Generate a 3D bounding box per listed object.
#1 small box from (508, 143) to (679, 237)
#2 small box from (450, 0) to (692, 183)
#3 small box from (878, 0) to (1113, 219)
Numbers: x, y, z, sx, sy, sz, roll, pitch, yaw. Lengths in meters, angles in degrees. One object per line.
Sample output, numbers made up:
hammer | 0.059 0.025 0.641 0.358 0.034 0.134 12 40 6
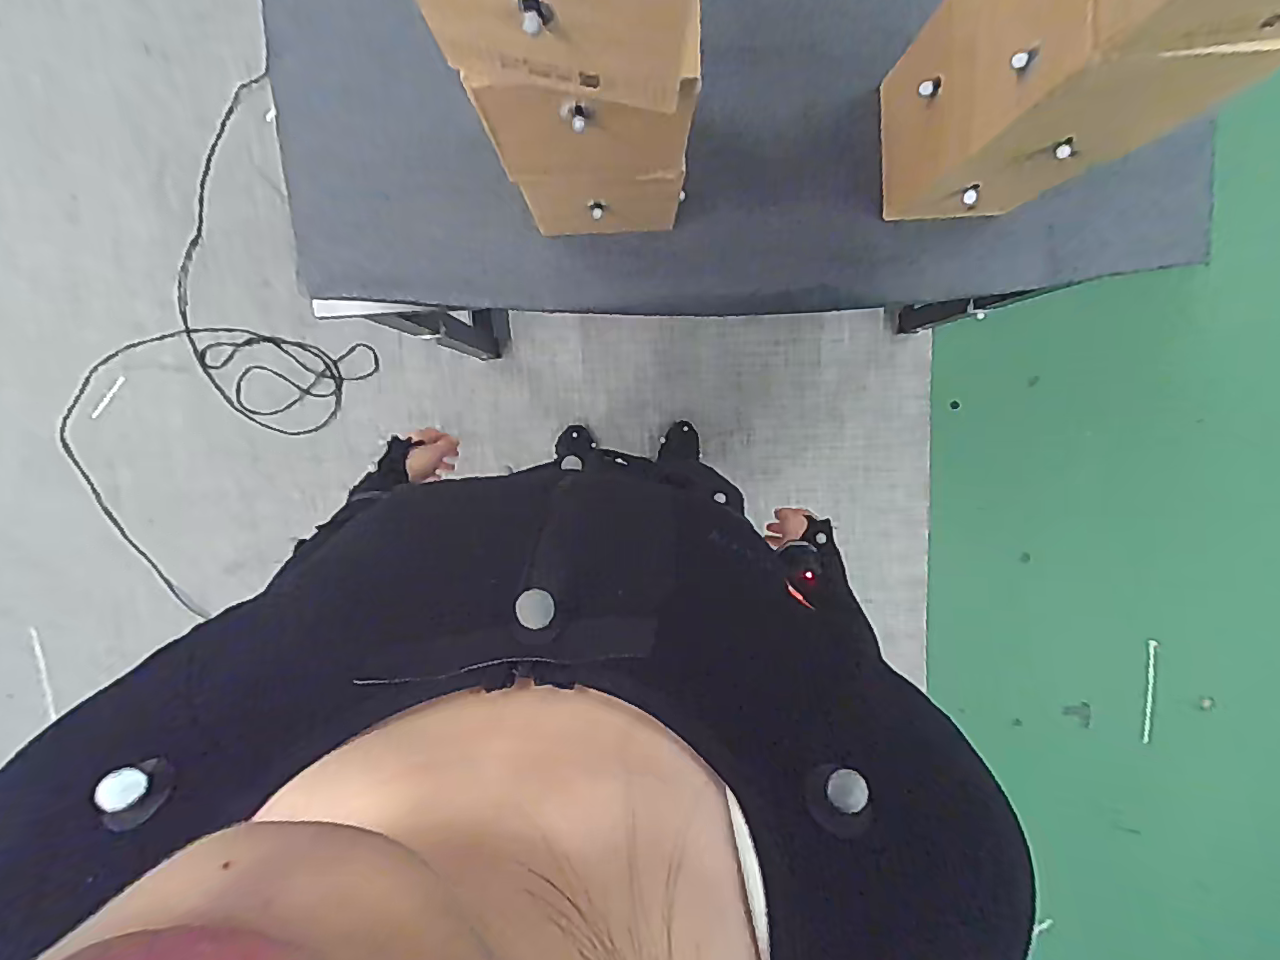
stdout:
small box | -0.052 -0.392 0.620 0.179 0.176 0.168 -3 96 0
small box | -0.052 -0.371 0.459 0.179 0.176 0.168 -2 97 -2
small box | 0.393 -0.418 0.625 0.168 0.176 0.179 -4 95 -1
